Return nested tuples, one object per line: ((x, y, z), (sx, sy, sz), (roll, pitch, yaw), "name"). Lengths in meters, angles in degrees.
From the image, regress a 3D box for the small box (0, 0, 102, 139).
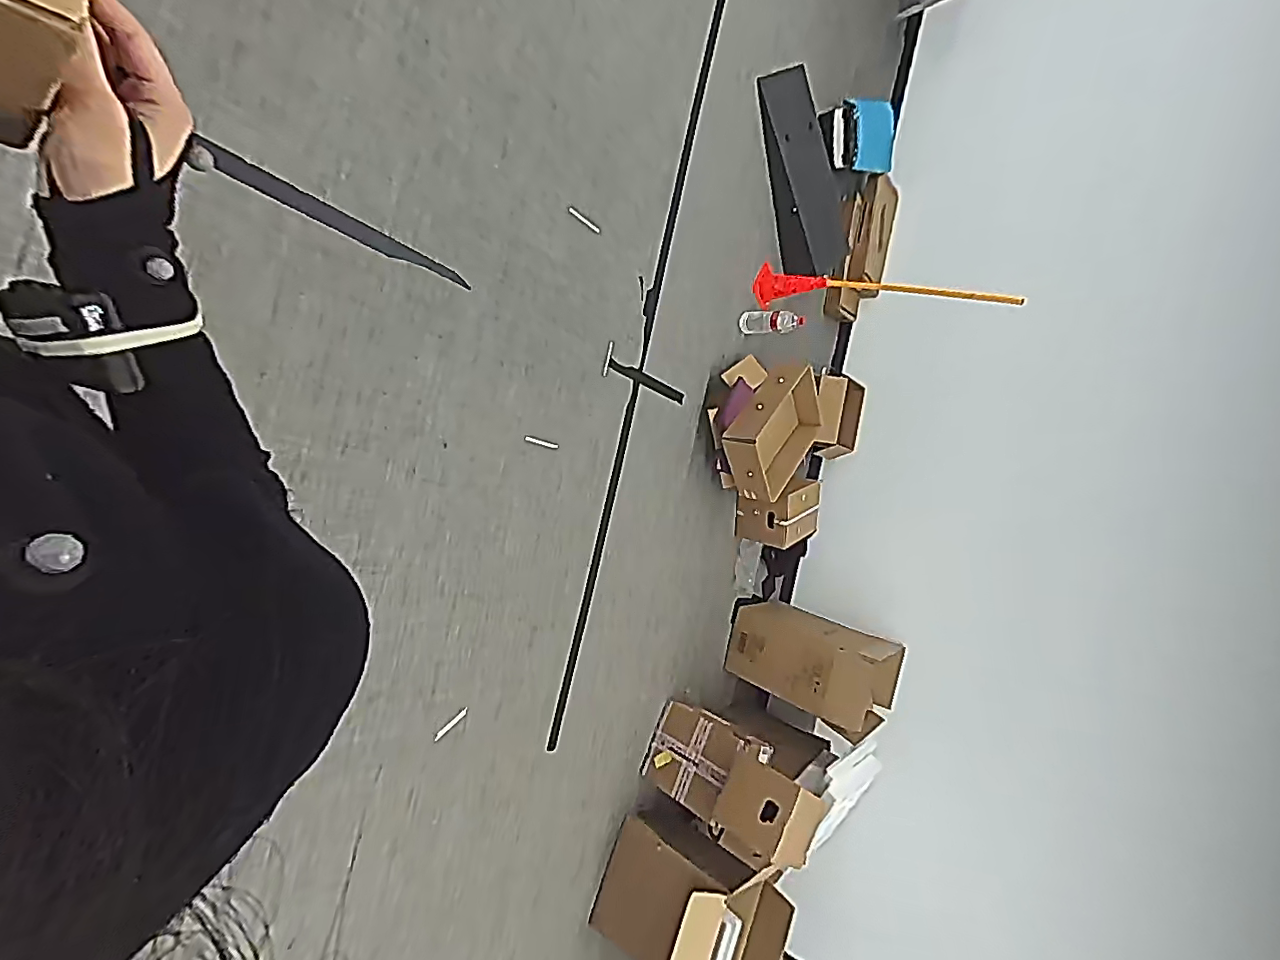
((-0.327, -0.266, 0.199), (0.168, 0.176, 0.179), (-3, 97, -54), "small box")
